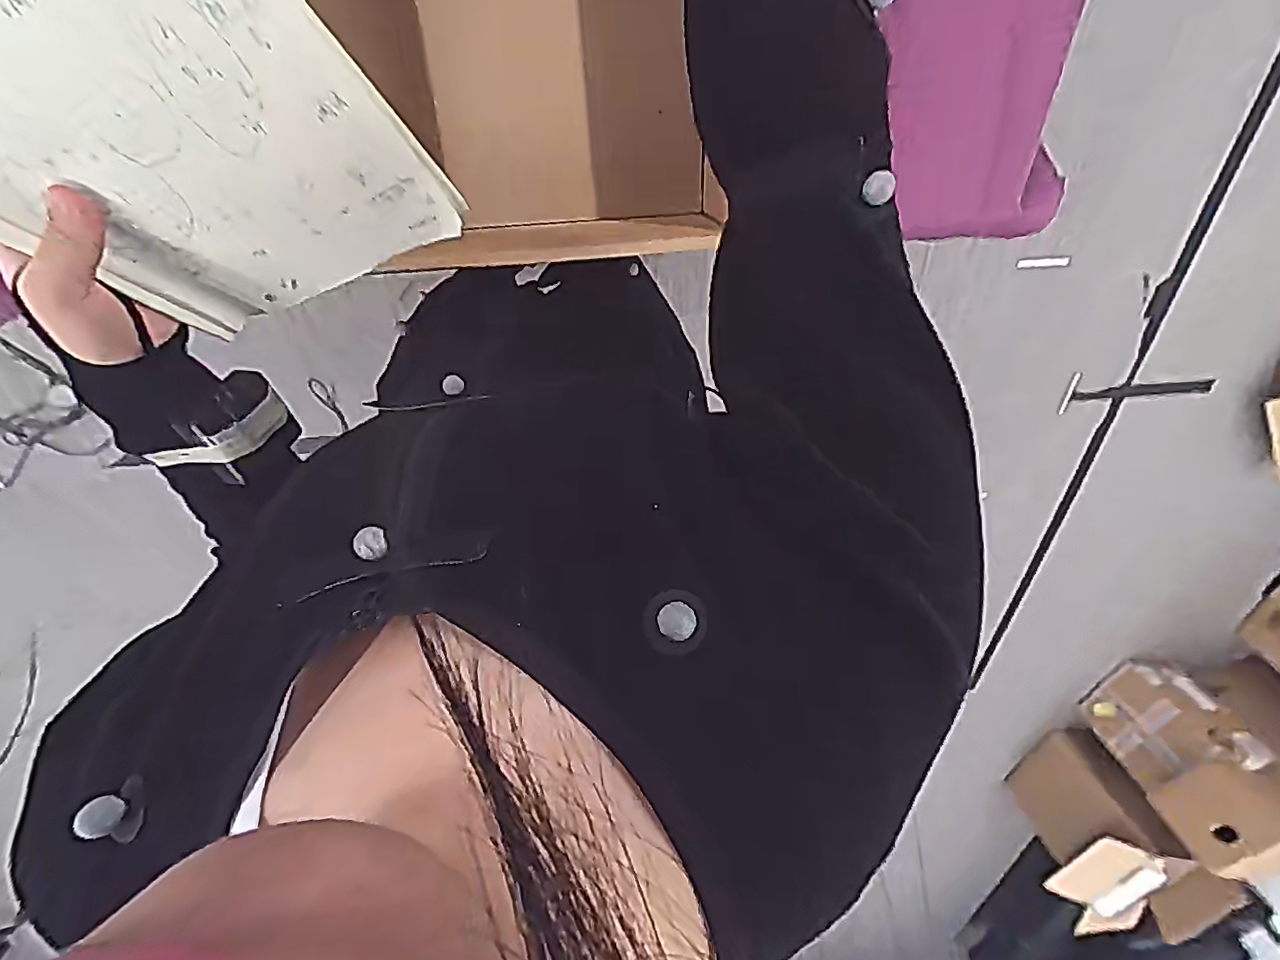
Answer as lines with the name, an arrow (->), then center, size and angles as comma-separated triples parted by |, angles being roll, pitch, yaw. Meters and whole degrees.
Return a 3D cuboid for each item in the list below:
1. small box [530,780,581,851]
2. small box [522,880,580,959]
small box -> -0.314, 1.240, 2.010 | 0.168, 0.176, 0.179 | -7, 125, -3
small box -> -0.281, 1.423, 1.739 | 0.168, 0.176, 0.179 | -6, 124, -6
